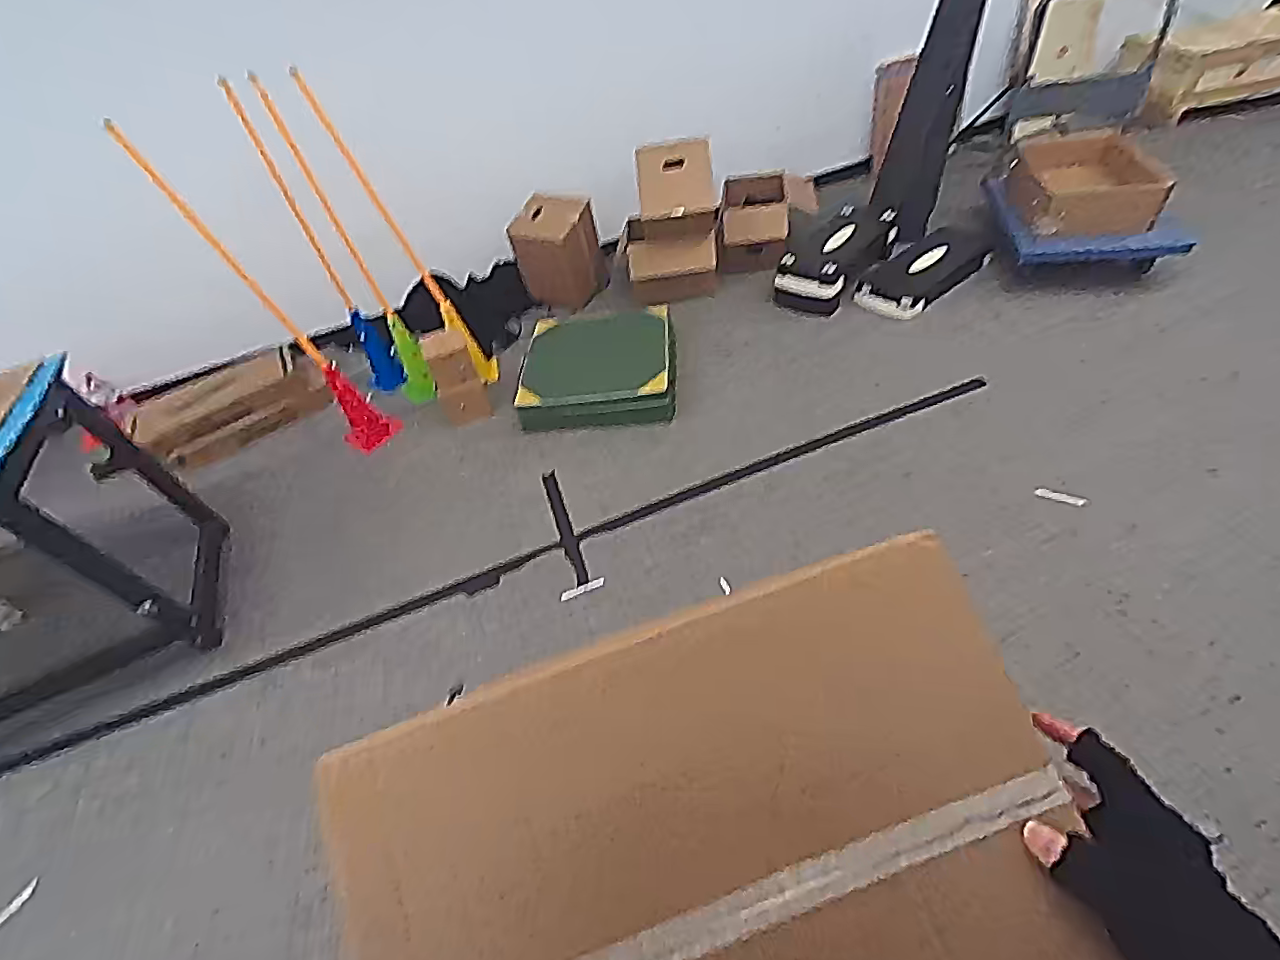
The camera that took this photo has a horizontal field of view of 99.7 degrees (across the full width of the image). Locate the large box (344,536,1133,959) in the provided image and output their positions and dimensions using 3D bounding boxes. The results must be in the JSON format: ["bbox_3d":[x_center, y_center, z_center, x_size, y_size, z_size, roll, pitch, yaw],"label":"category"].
[{"bbox_3d":[0.056,0.279,0.454,0.408,0.320,0.320,-20,77,-3],"label":"large box"}]
